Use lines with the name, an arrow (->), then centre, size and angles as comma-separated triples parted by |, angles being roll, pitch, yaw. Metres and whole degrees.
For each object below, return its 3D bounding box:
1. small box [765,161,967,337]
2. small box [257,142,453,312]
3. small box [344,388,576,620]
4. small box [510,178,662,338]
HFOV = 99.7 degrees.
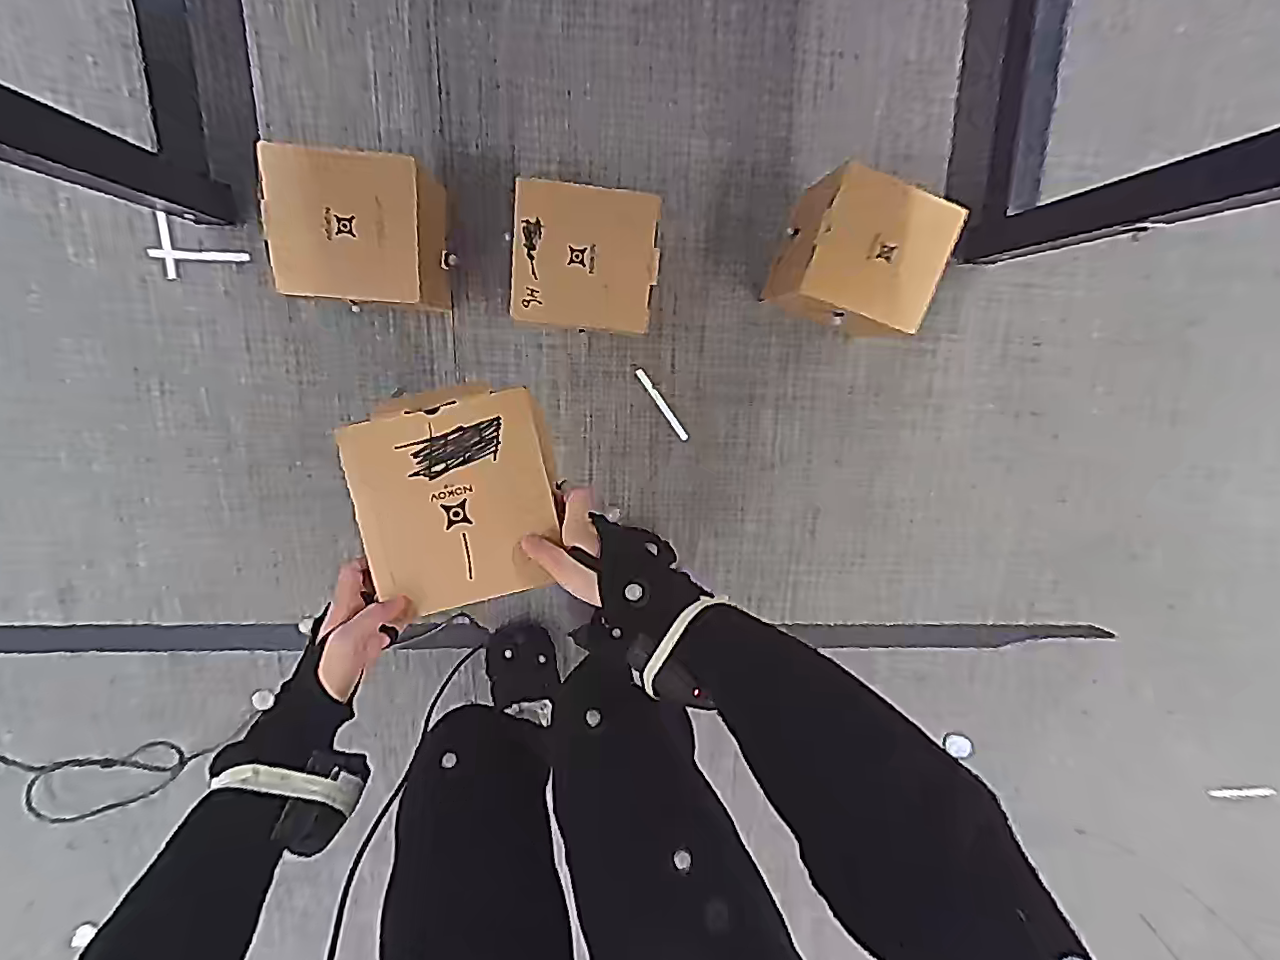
small box -> 0.303, -0.311, 0.766 | 0.179, 0.176, 0.168 | 17, 102, -8
small box -> -0.355, -0.314, 0.707 | 0.179, 0.176, 0.168 | 2, 104, -7
small box -> -0.165, 0.020, 0.551 | 0.168, 0.176, 0.179 | -13, 92, -4
small box -> -0.075, -0.288, 0.737 | 0.179, 0.176, 0.168 | 5, 103, -6
